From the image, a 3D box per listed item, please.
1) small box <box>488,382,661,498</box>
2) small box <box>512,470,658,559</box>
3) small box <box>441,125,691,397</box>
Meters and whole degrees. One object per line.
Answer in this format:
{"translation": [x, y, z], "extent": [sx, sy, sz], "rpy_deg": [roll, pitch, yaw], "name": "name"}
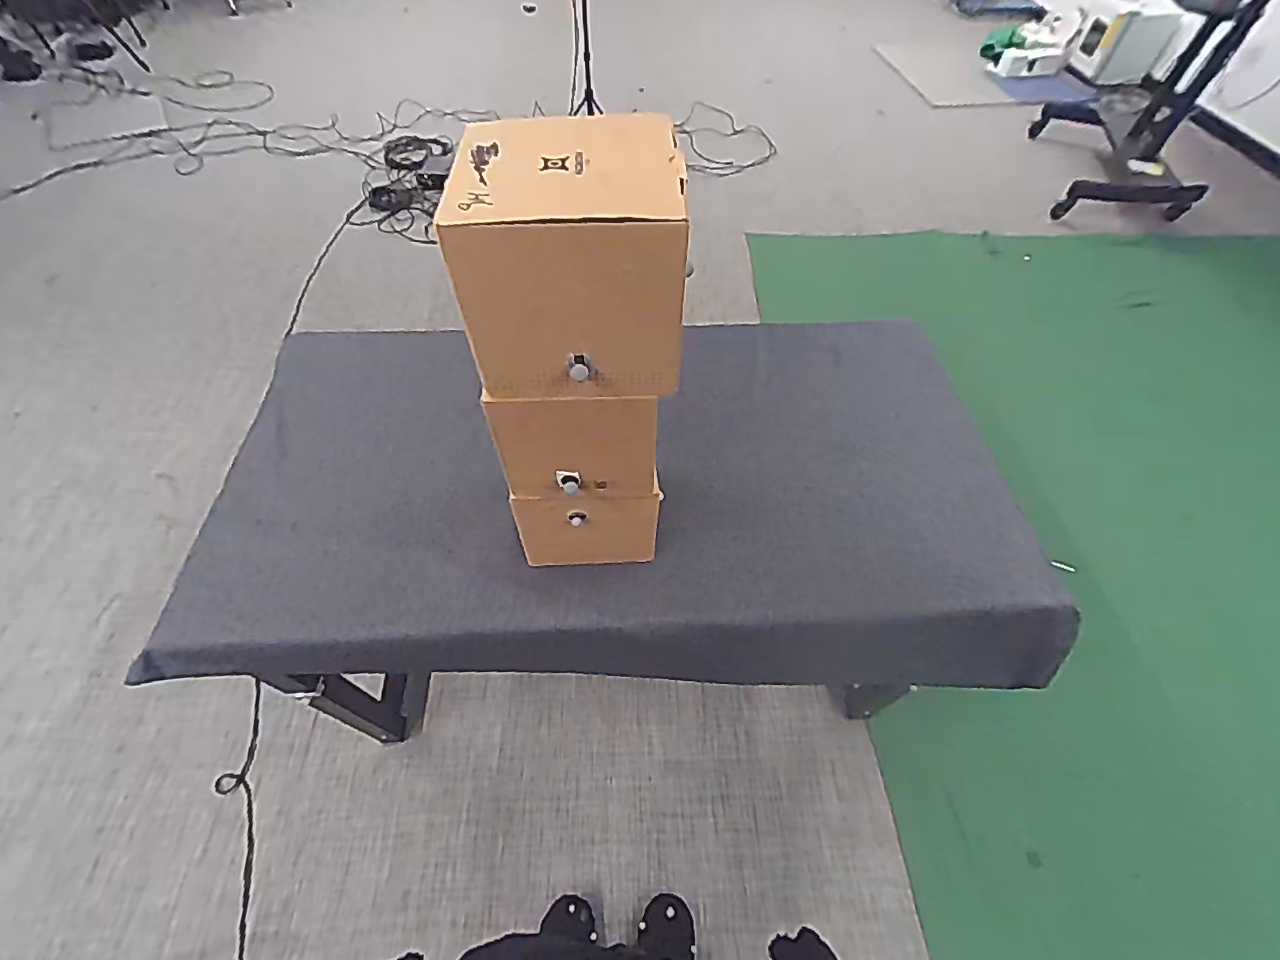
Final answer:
{"translation": [-0.065, -0.097, 0.620], "extent": [0.168, 0.176, 0.179], "rpy_deg": [-2, 55, -1], "name": "small box"}
{"translation": [-0.070, 0.001, 0.749], "extent": [0.179, 0.176, 0.168], "rpy_deg": [-2, 54, -3], "name": "small box"}
{"translation": [-0.055, -0.189, 0.485], "extent": [0.179, 0.176, 0.168], "rpy_deg": [-1, 53, -2], "name": "small box"}
